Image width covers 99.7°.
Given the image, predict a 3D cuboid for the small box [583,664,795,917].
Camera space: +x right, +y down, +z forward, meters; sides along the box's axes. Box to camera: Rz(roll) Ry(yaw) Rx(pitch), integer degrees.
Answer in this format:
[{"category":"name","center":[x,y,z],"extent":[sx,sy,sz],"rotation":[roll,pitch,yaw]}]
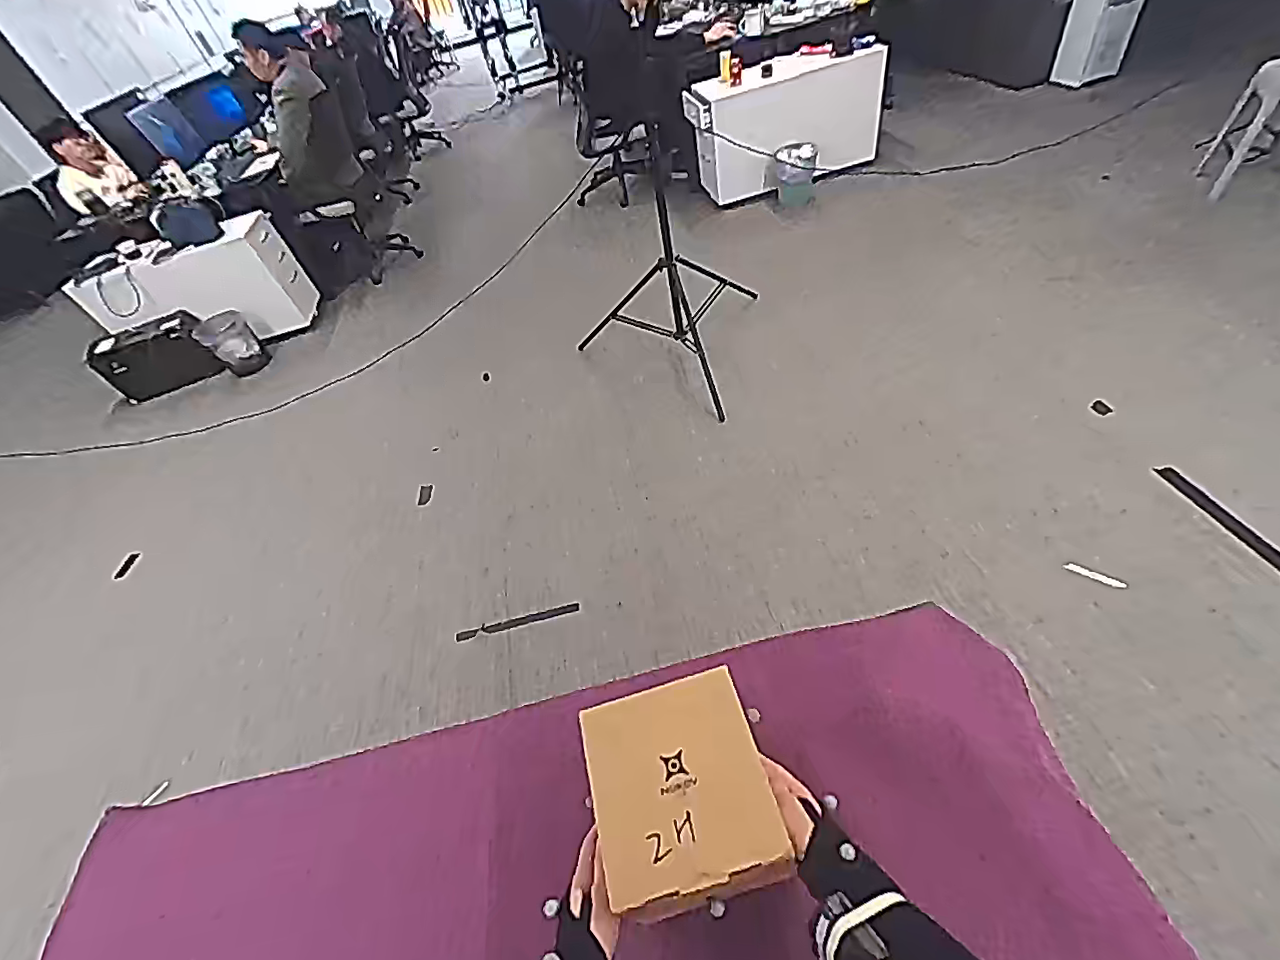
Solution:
[{"category":"small box","center":[0.049,0.331,0.574],"extent":[0.168,0.176,0.179],"rotation":[-18,48,-2]}]
